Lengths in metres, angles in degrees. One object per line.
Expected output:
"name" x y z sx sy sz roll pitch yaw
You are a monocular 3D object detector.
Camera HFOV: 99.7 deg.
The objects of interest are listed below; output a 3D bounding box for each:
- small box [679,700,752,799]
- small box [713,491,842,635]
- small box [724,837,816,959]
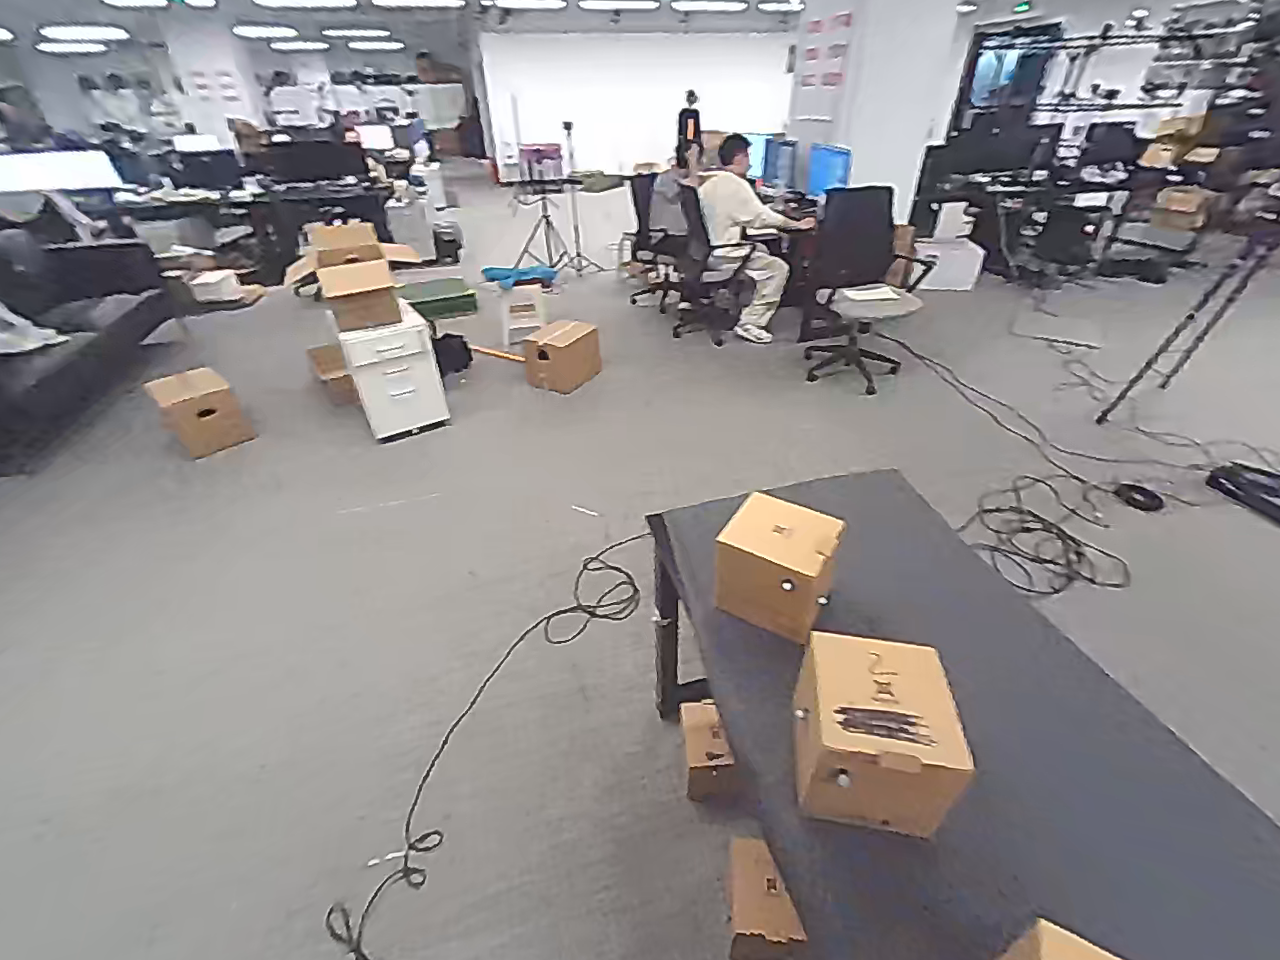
"small box" 0.194 0.719 1.445 0.168 0.176 0.179 -3 34 -2
"small box" 0.245 0.150 0.988 0.179 0.176 0.168 19 40 27
"small box" 0.272 0.911 1.167 0.168 0.176 0.179 3 34 4
